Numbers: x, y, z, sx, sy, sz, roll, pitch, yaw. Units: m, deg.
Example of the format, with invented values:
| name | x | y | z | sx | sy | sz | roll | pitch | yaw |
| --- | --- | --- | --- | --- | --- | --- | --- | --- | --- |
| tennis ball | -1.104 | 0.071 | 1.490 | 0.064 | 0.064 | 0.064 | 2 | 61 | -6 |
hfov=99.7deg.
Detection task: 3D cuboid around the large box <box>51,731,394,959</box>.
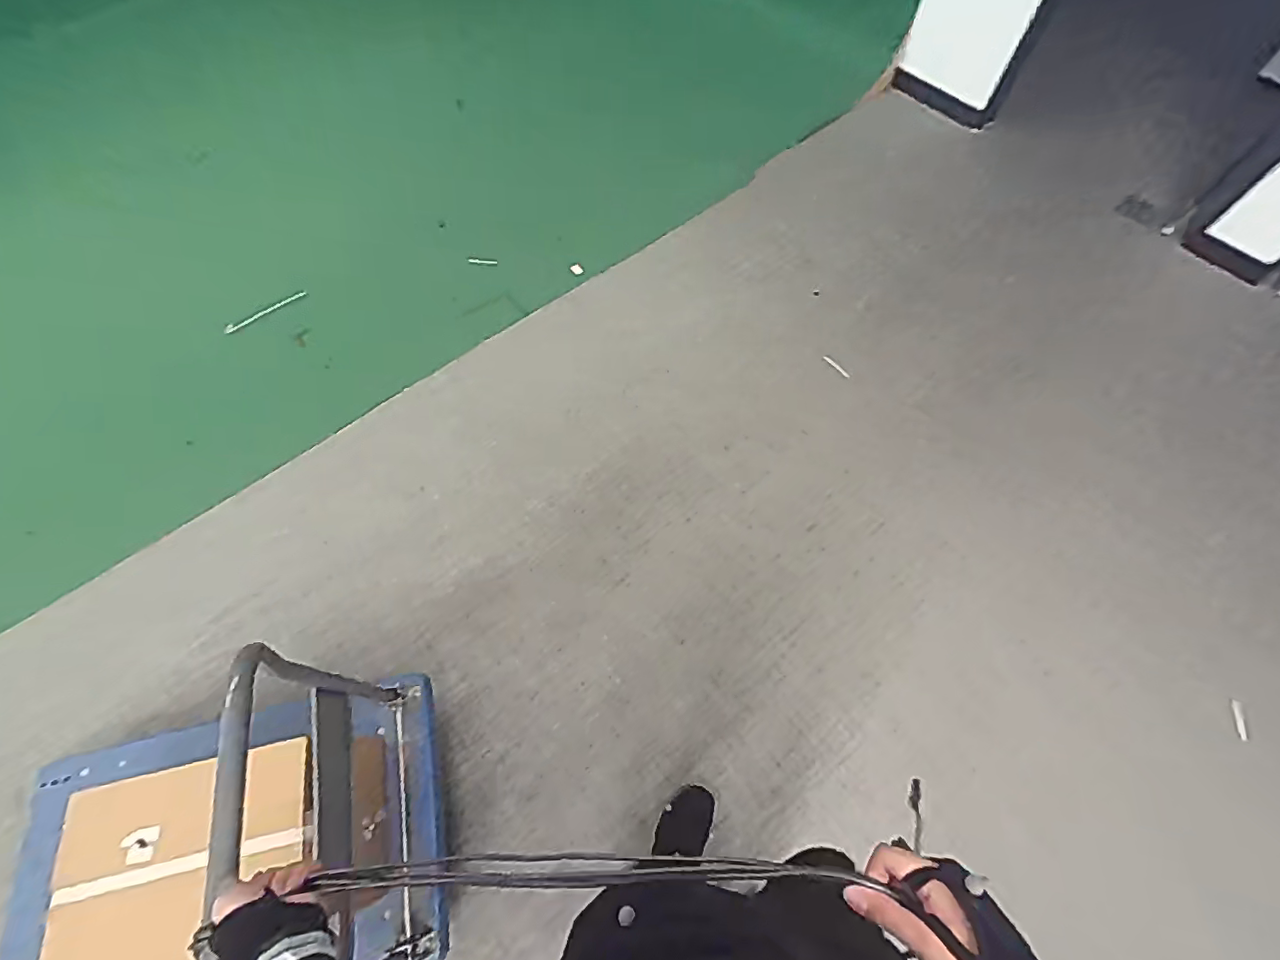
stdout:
| name | x | y | z | sx | sy | sz | roll | pitch | yaw |
| --- | --- | --- | --- | --- | --- | --- | --- | --- | --- |
| large box | -0.737 | 0.693 | 1.026 | 0.408 | 0.320 | 0.320 | -12 | 65 | -4 |
